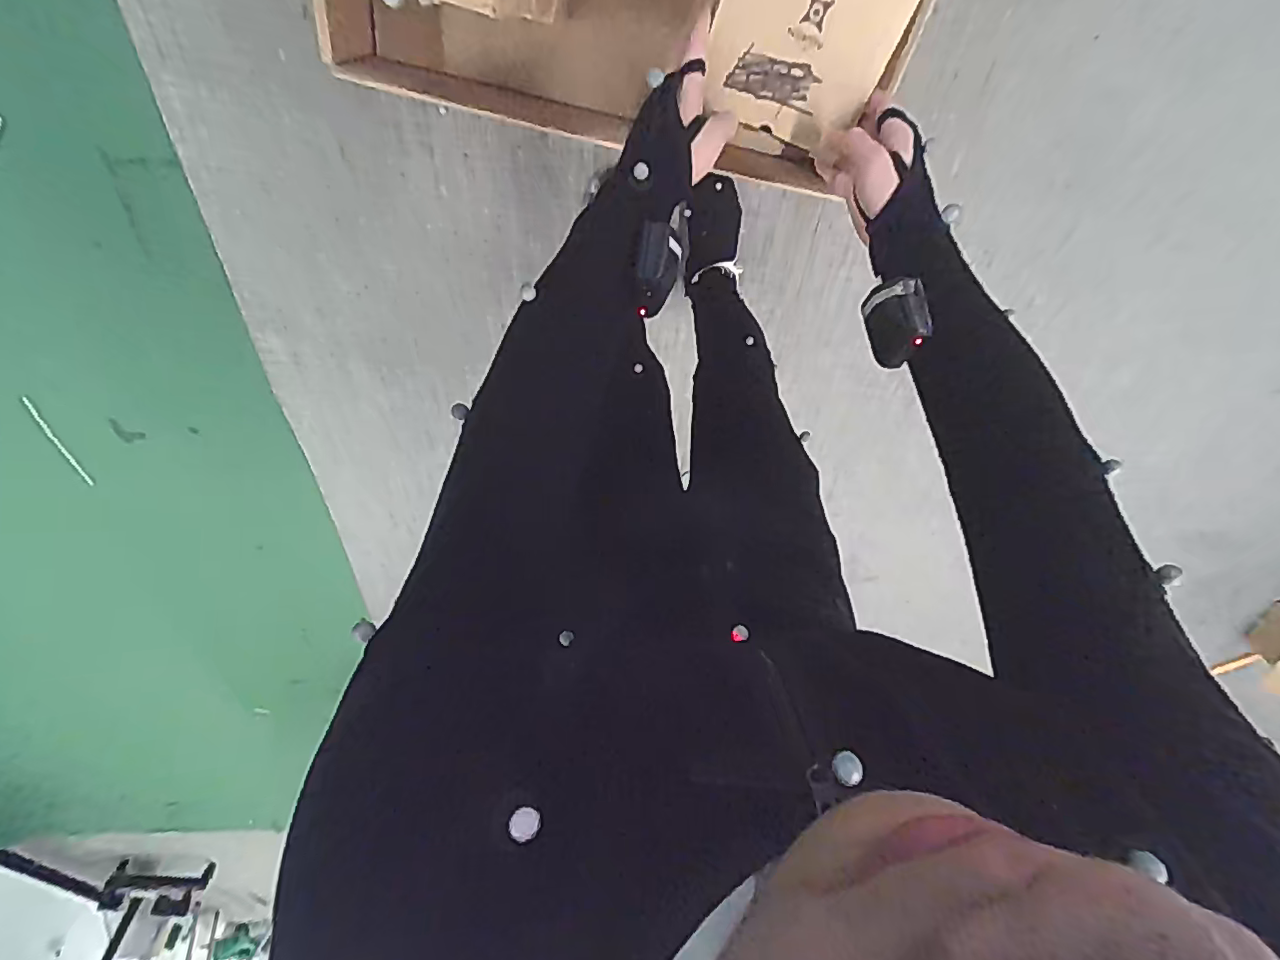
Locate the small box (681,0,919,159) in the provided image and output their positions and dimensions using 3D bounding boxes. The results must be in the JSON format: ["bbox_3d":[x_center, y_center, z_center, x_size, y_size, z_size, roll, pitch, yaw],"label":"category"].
[{"bbox_3d":[0.146,-0.454,0.529,0.168,0.176,0.179,12,130,-14],"label":"small box"}]

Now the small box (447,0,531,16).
[{"bbox_3d":[-0.132,-0.369,0.269,0.168,0.176,0.179,10,130,-11],"label":"small box"}]

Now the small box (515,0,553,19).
[{"bbox_3d":[-0.139,-0.475,0.396,0.168,0.176,0.179,9,130,-11],"label":"small box"}]
